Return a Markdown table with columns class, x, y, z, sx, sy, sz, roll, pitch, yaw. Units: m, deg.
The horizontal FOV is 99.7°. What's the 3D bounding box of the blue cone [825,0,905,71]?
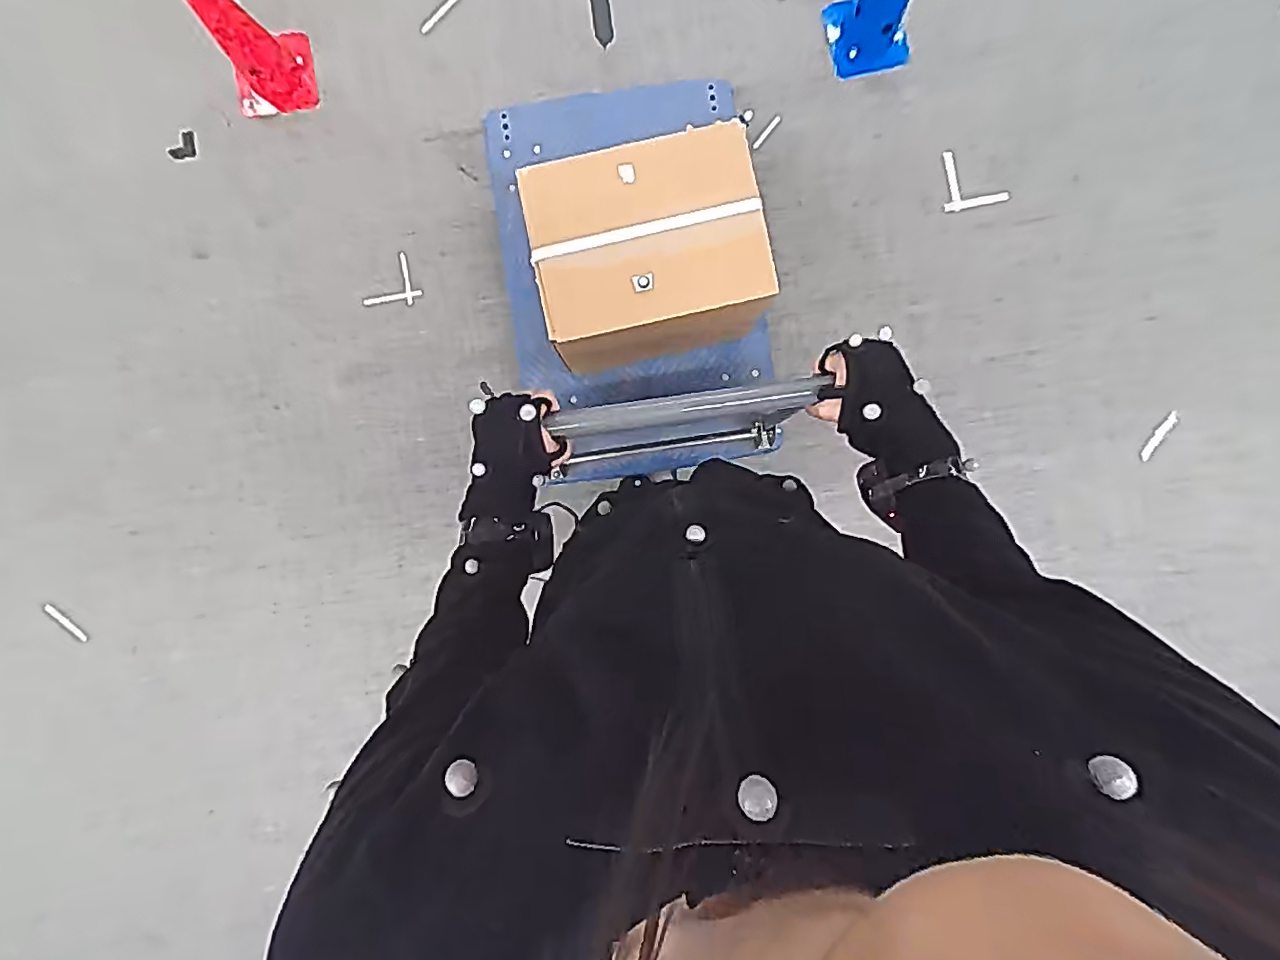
| class | x | y | z | sx | sy | sz | roll | pitch | yaw |
| --- | --- | --- | --- | --- | --- | --- | --- | --- | --- |
| blue cone | 0.599 | -1.183 | 1.261 | 0.193 | 0.380 | 0.192 | -13 | 89 | -1 |
